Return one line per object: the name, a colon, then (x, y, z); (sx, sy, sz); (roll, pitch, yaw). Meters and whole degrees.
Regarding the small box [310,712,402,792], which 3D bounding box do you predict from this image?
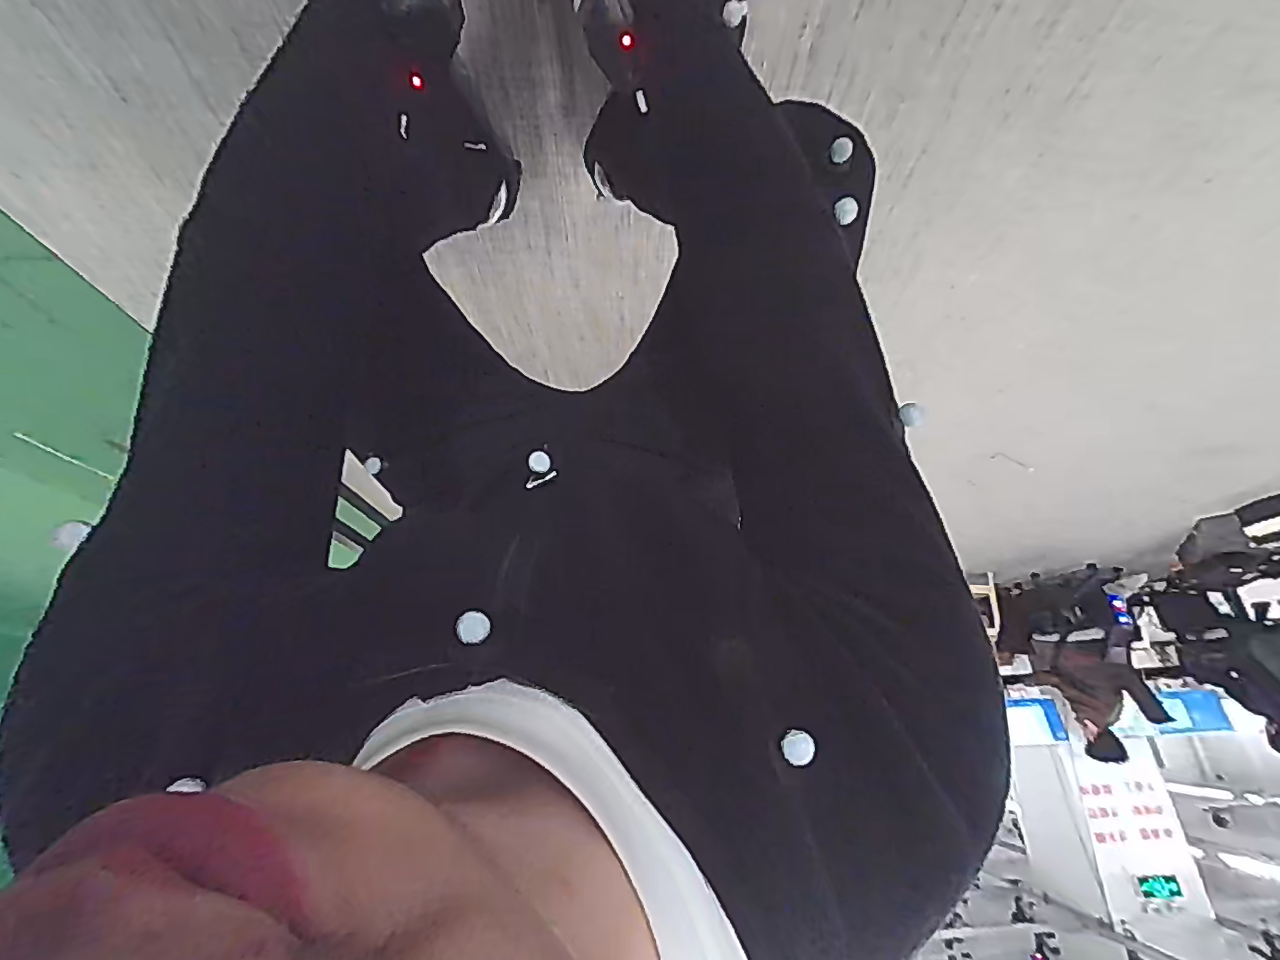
small box: (-0.733, 0.704, 1.414); (0.168, 0.176, 0.179); (1, 156, -11)
